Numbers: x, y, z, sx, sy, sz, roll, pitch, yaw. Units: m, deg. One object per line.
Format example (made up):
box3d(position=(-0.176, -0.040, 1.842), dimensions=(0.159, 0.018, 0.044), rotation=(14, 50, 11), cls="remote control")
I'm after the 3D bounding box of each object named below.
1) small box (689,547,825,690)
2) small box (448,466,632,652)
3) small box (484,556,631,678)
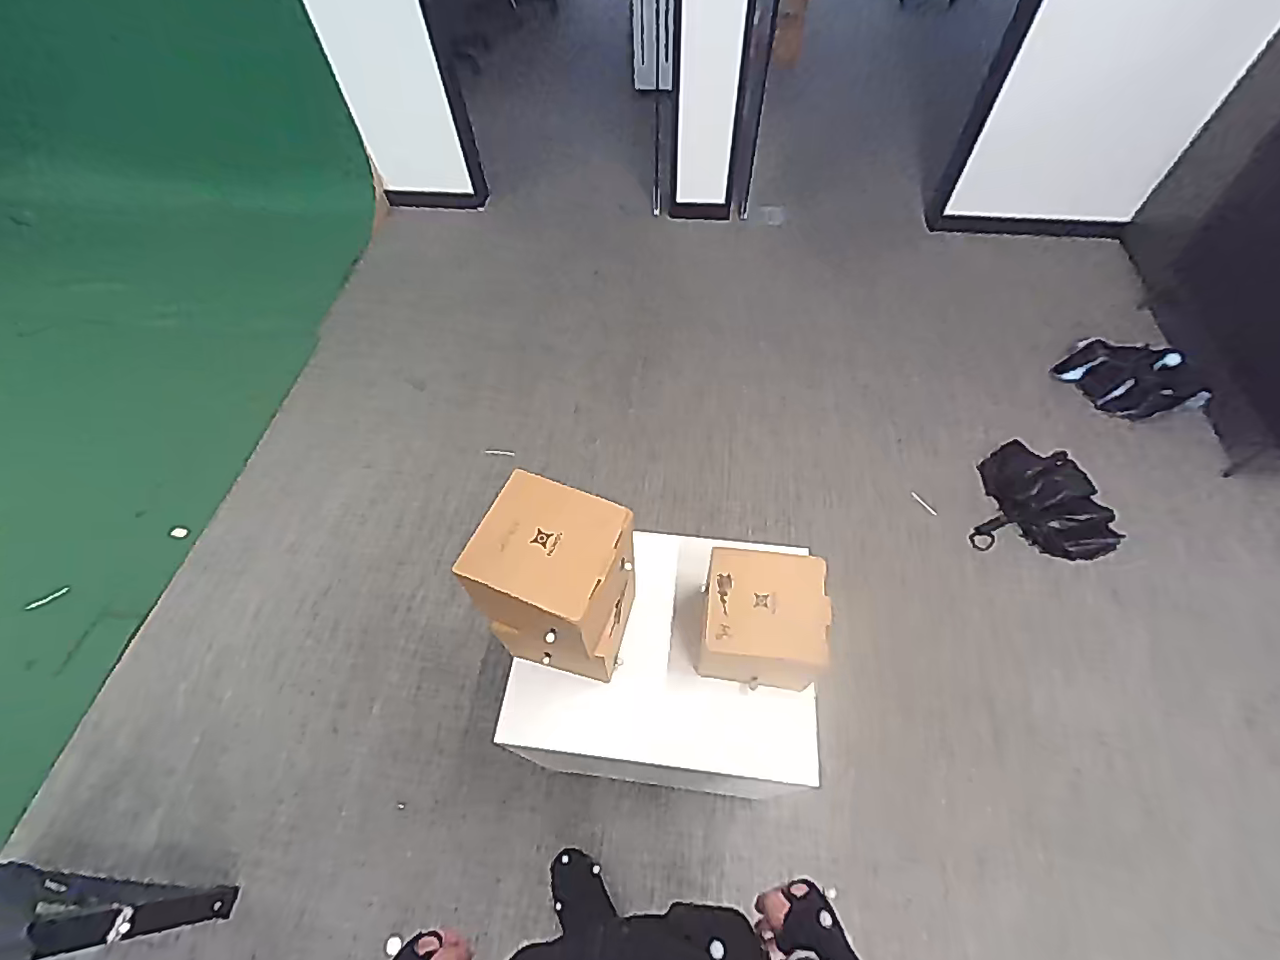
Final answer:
box3d(position=(0.180, 0.226, 0.859), dimensions=(0.179, 0.176, 0.168), rotation=(8, 57, 4), cls="small box")
box3d(position=(-0.121, 0.114, 0.732), dimensions=(0.179, 0.176, 0.168), rotation=(19, 57, 11), cls="small box")
box3d(position=(-0.120, 0.203, 0.866), dimensions=(0.179, 0.176, 0.168), rotation=(13, 57, 8), cls="small box")
